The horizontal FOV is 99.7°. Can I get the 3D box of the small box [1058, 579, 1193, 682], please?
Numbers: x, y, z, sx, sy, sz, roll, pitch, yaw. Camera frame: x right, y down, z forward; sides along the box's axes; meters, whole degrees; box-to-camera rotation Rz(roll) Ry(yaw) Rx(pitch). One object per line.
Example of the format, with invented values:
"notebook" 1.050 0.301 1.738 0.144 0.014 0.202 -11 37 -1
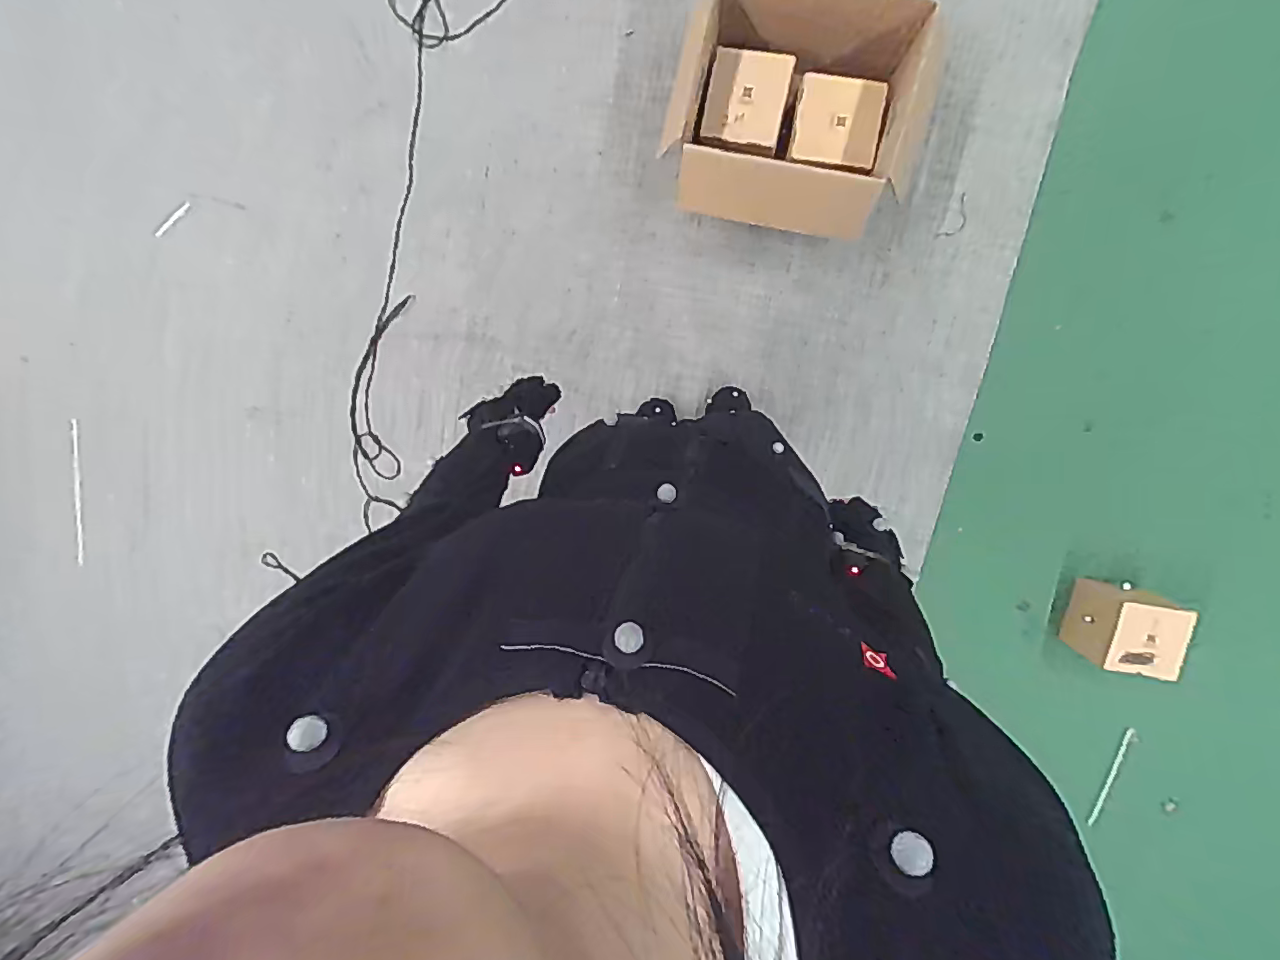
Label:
"small box" 1.193 0.368 1.346 0.168 0.176 0.179 9 100 4
